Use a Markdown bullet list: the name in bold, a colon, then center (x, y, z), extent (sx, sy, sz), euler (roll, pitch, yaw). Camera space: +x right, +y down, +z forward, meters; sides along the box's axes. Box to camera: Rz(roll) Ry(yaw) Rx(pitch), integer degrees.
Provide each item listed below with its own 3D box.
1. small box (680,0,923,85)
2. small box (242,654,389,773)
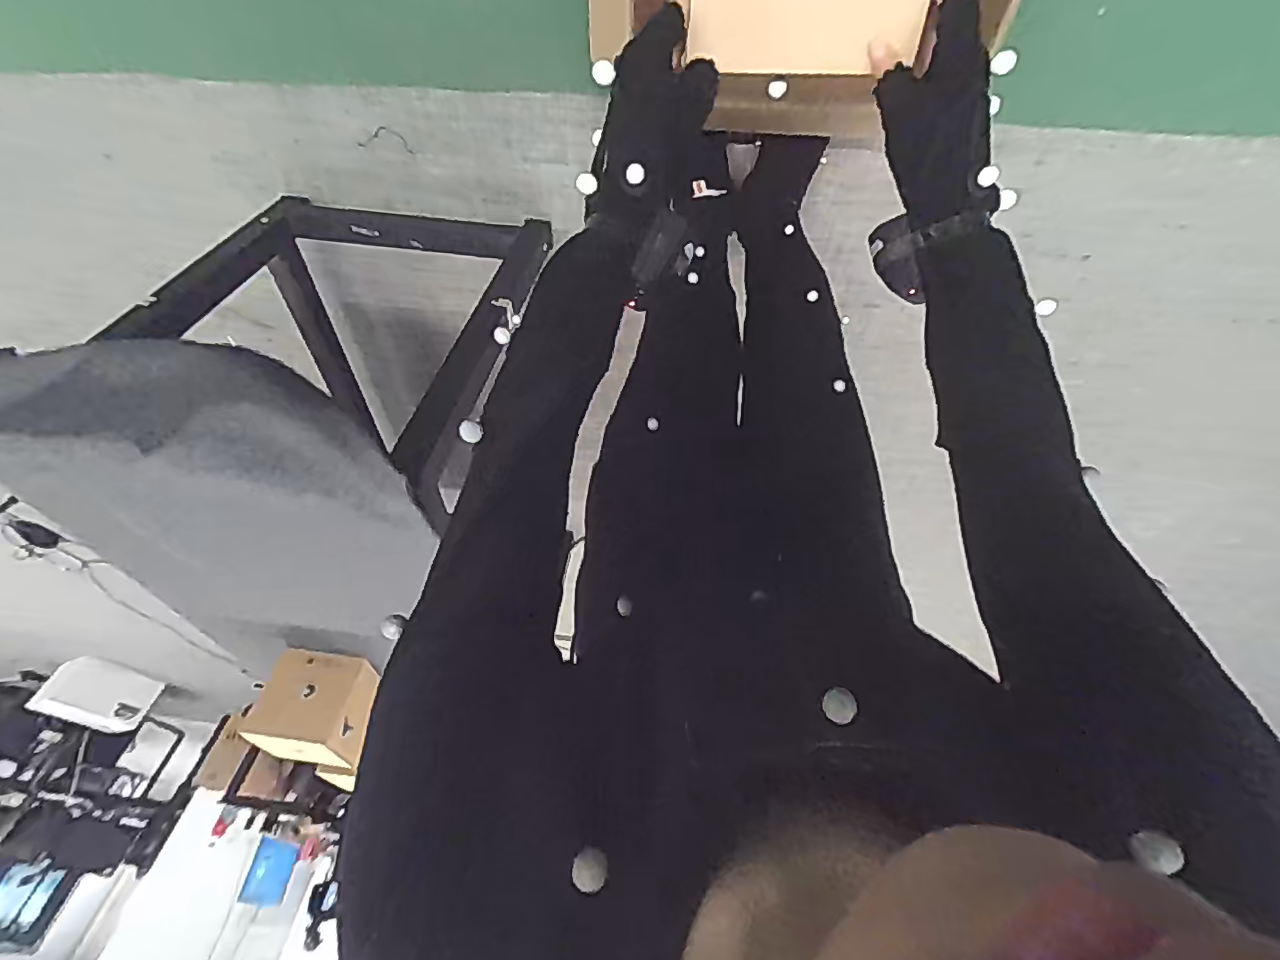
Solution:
- **small box**: center (0.125, -0.430, 0.437), extent (0.179, 0.176, 0.168), euler (3, 129, 3)
- **small box**: center (-0.640, 0.470, 1.093), extent (0.168, 0.176, 0.179), euler (8, 139, 2)
